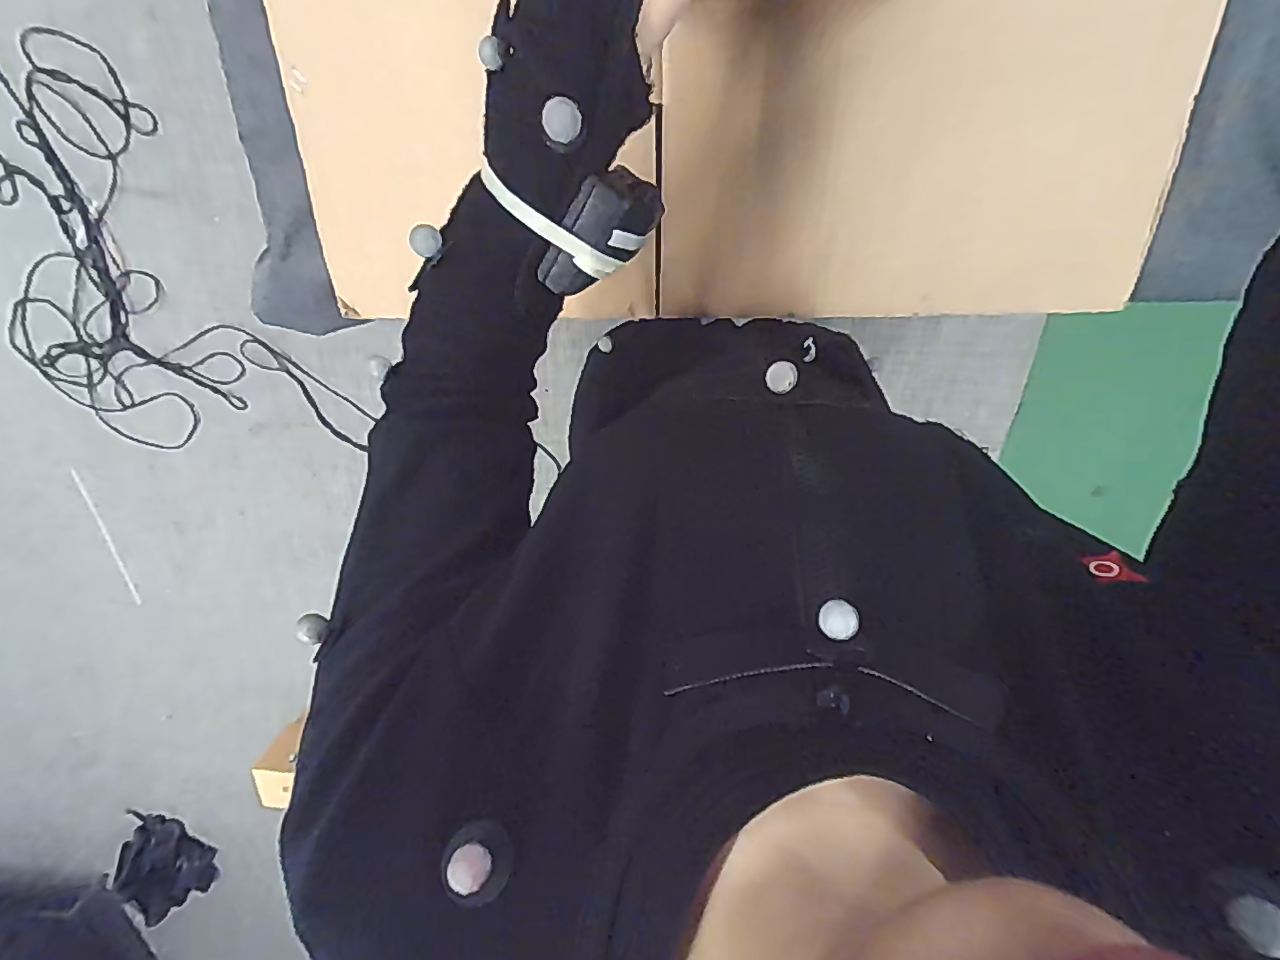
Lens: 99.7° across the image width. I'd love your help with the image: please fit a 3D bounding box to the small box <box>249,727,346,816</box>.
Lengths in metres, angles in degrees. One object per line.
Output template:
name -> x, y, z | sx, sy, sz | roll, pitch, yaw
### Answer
small box -> -1.025, 0.876, 1.634 | 0.179, 0.176, 0.168 | 5, 114, 0
